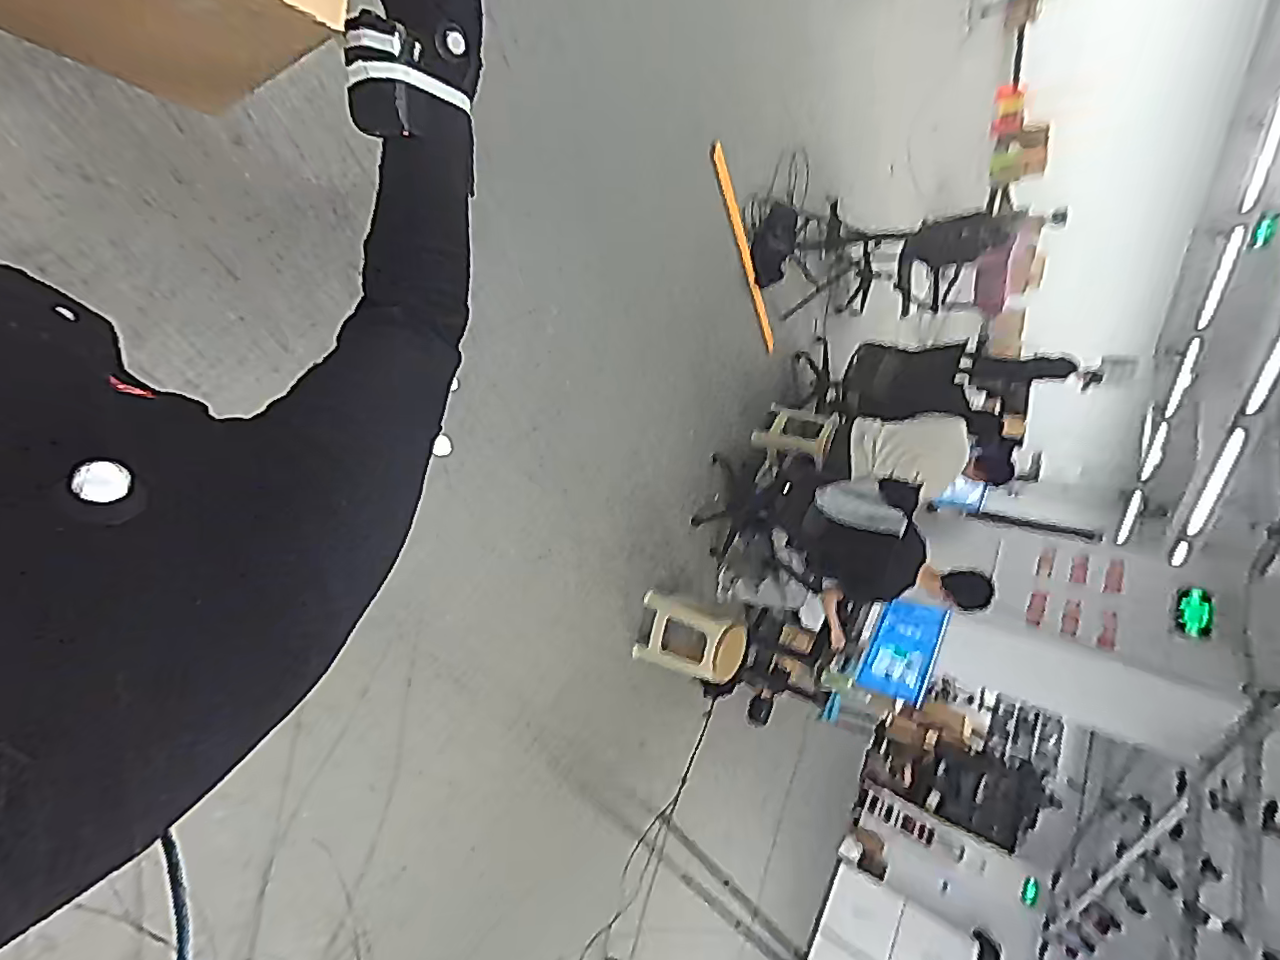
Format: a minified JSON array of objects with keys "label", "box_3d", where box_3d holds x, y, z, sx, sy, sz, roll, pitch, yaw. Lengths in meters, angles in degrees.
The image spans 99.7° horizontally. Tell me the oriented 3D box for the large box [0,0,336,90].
[{"label":"large box","box_3d":[-0.410,-0.481,0.263,0.408,0.320,0.320,-3,108,-50]}]
